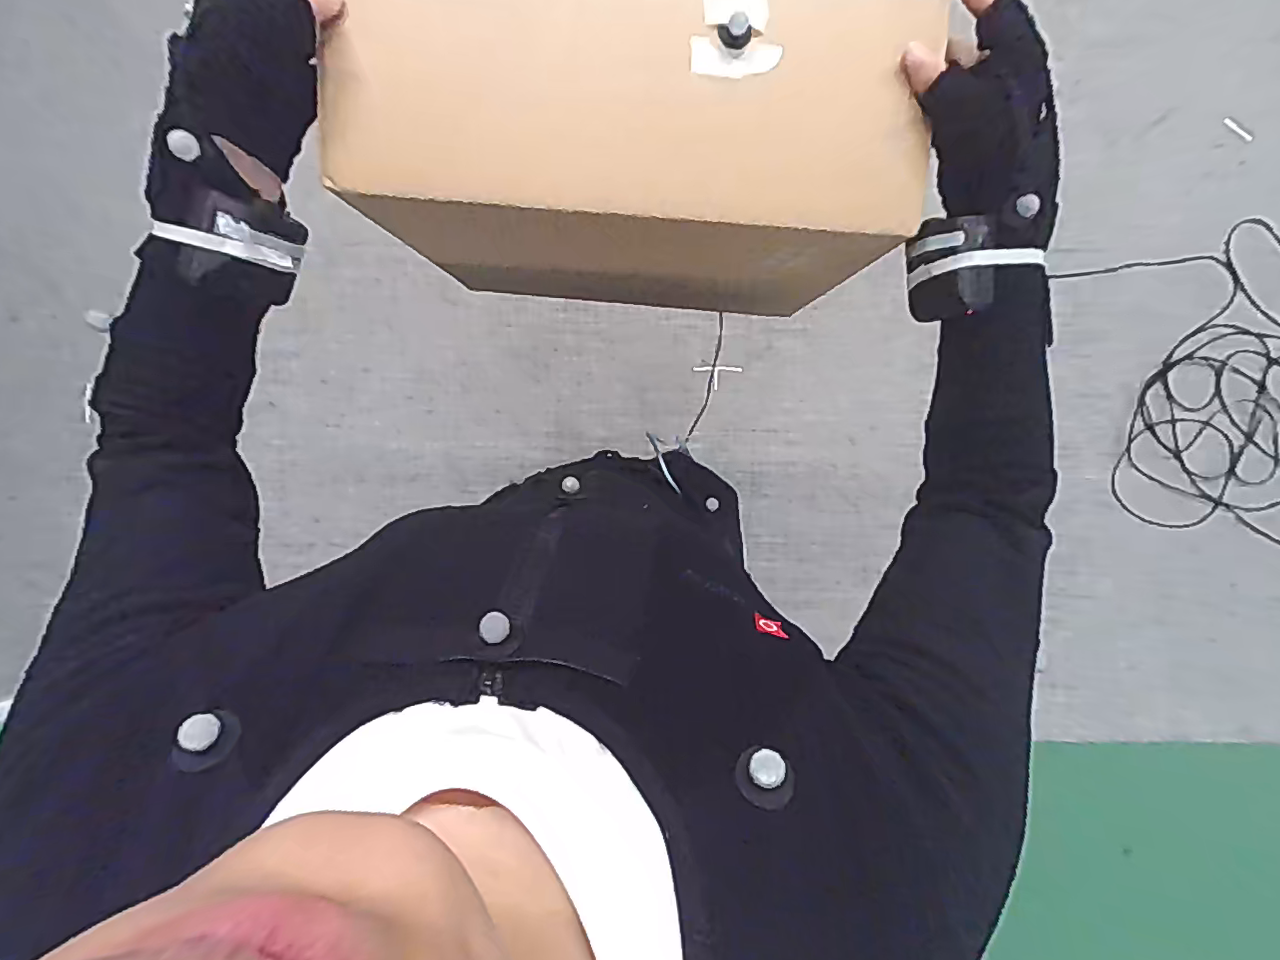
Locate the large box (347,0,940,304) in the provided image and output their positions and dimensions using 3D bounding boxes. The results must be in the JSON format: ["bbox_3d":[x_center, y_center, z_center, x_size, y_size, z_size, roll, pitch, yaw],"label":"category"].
[{"bbox_3d":[0.003,-0.361,0.507,0.408,0.320,0.320,4,98,0],"label":"large box"}]
